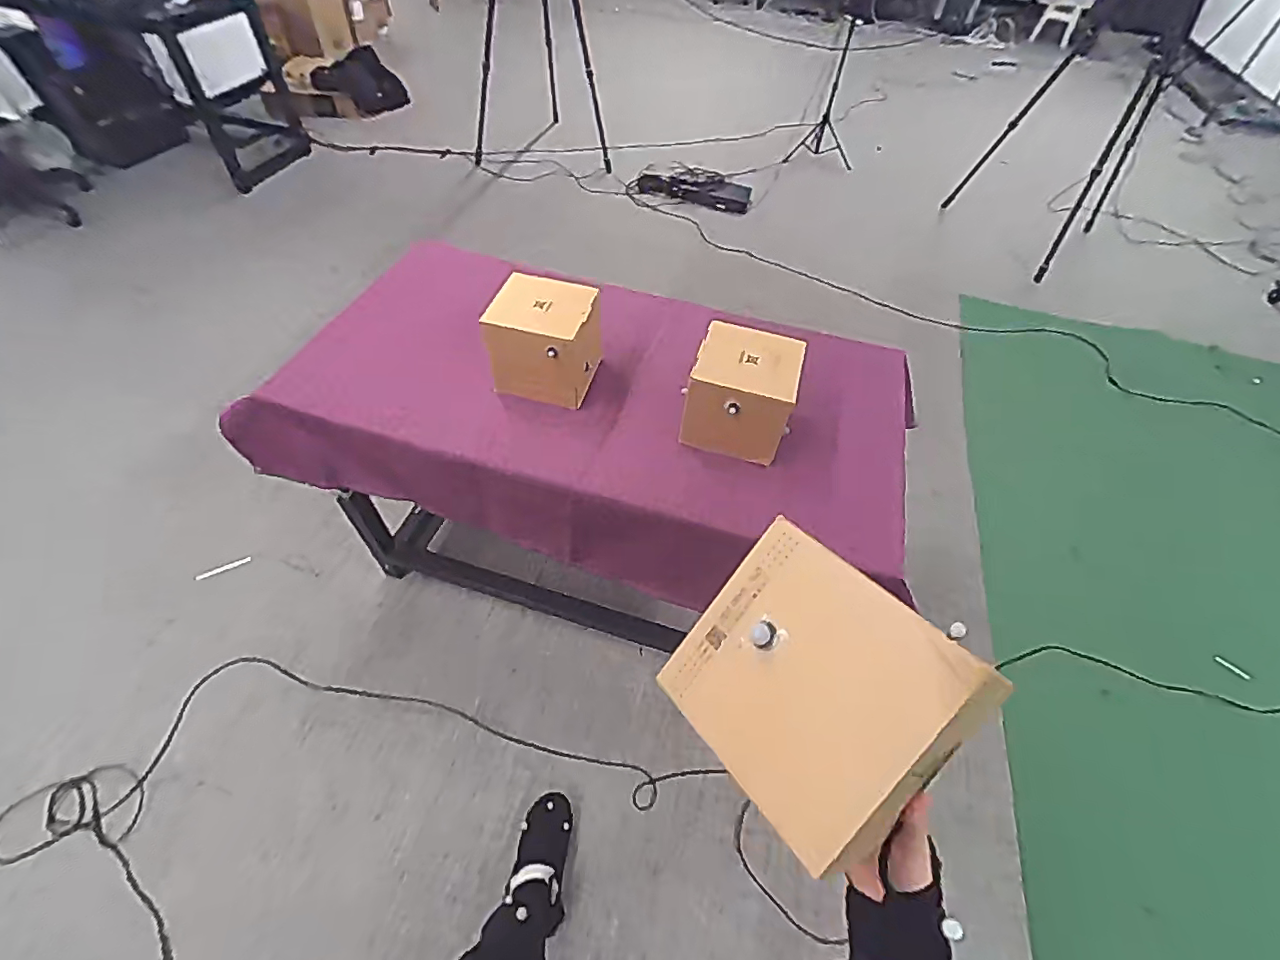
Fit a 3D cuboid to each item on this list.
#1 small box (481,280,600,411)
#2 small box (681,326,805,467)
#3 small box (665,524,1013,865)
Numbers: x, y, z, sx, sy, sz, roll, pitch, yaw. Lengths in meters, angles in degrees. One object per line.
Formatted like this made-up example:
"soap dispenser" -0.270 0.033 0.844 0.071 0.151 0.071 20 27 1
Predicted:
"small box" -0.183 -0.255 1.043 0.179 0.176 0.168 13 52 5
"small box" 0.181 -0.147 0.981 0.179 0.176 0.168 16 53 8
"small box" 0.156 0.158 0.435 0.168 0.179 0.176 -55 46 6
